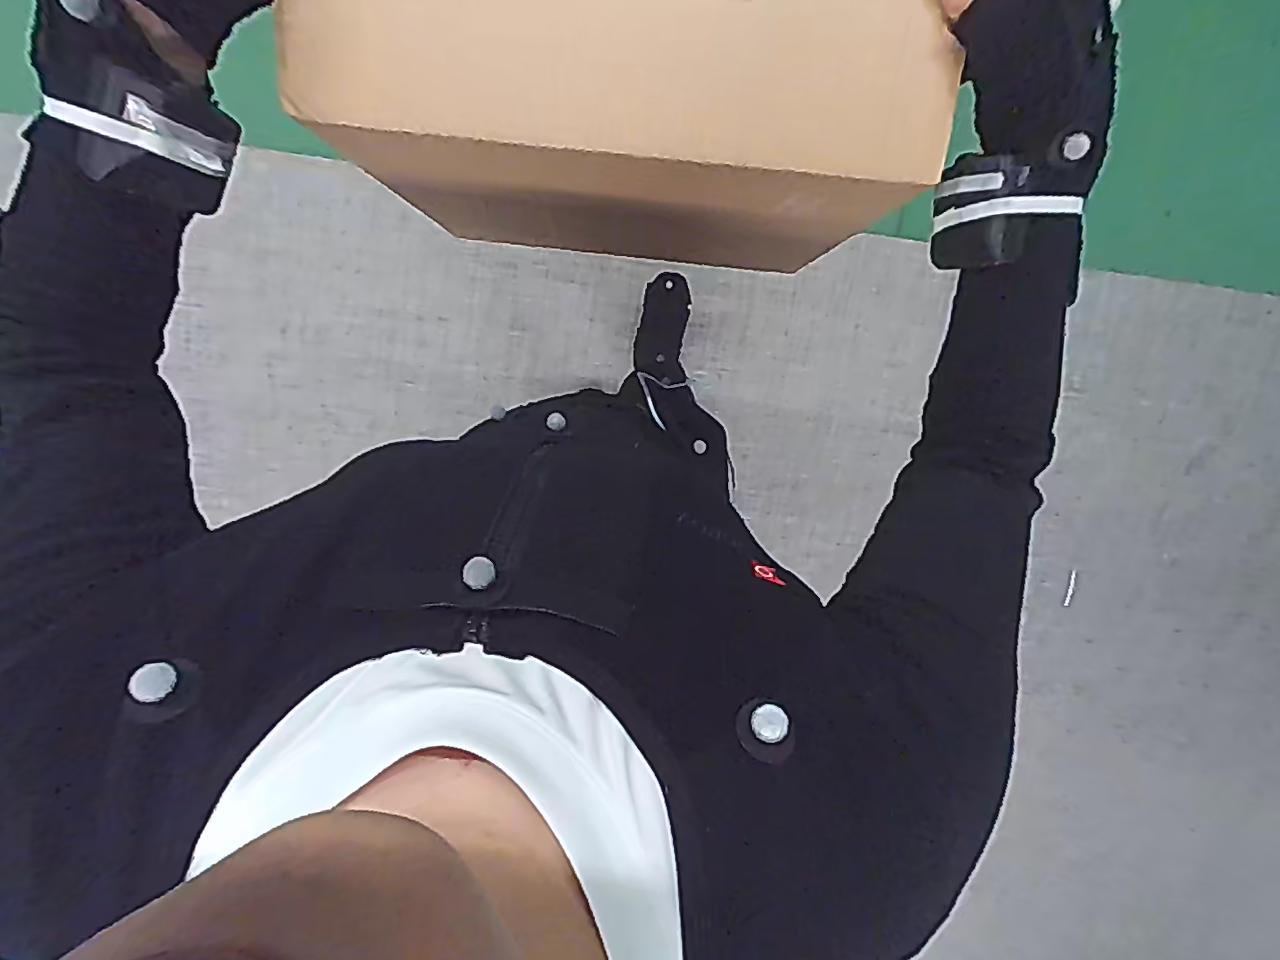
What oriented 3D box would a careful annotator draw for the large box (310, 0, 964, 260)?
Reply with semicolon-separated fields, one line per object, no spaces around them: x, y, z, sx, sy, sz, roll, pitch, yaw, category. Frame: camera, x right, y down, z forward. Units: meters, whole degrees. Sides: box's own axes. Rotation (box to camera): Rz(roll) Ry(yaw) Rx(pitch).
0.003;-0.391;0.460;0.408;0.320;0.320;5;102;-1;large box
